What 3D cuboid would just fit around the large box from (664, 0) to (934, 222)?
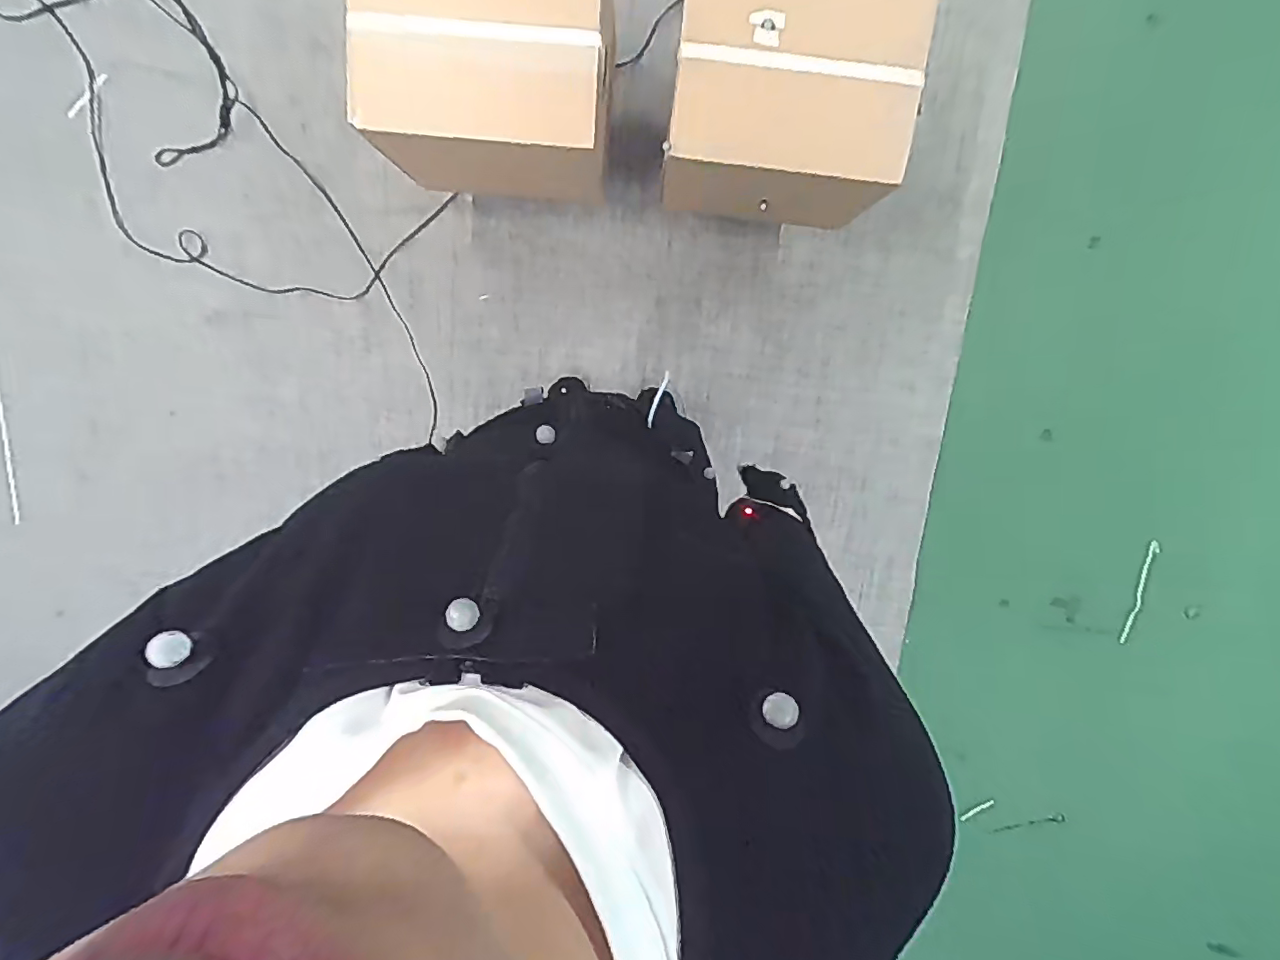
[{"bbox_3d":[0.268,-0.713,1.041,0.408,0.320,0.320,7,101,-1],"label":"large box"}]
